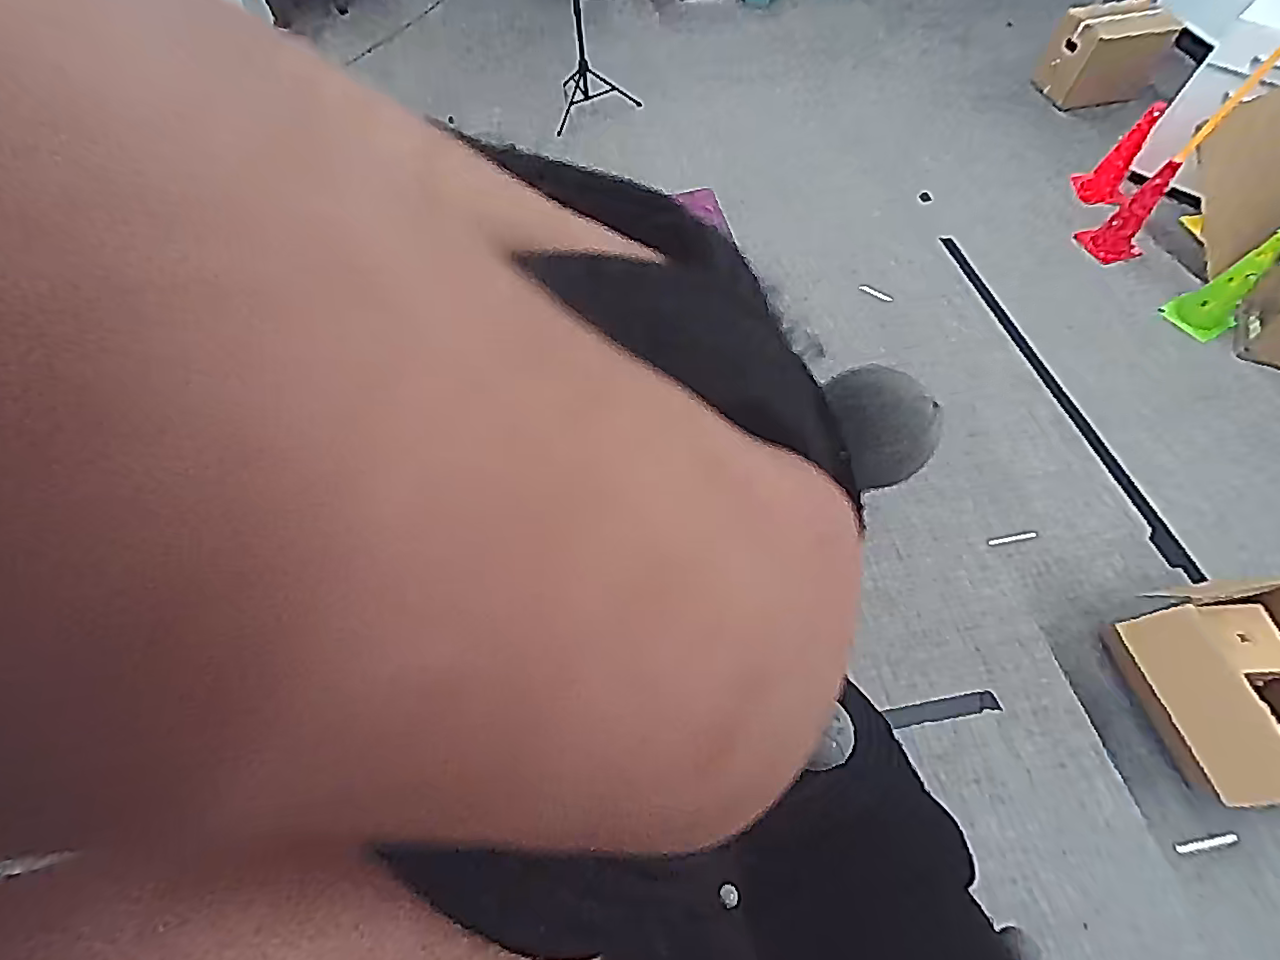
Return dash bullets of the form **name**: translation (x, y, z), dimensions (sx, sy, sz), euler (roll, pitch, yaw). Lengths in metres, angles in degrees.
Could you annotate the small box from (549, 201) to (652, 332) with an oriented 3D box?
- **small box**: translation (-0.075, -0.426, 1.104), dimensions (0.168, 0.176, 0.179), euler (-16, 61, -6)
